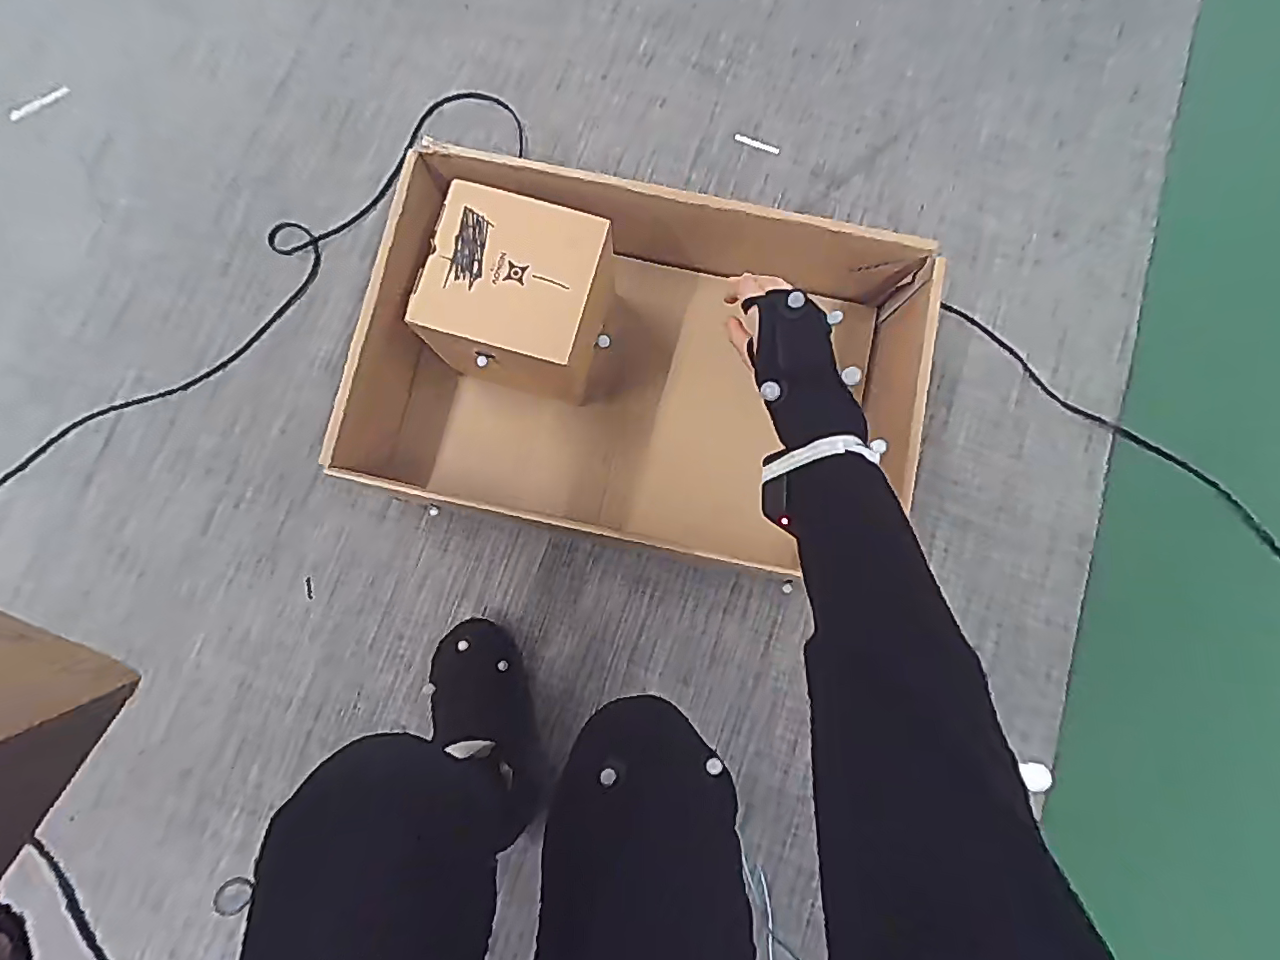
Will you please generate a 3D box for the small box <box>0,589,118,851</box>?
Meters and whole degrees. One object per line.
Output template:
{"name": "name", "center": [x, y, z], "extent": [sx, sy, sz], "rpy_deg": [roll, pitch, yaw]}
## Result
{"name": "small box", "center": [-0.331, 0.114, 0.159], "extent": [0.168, 0.176, 0.179], "rpy_deg": [32, 77, -12]}
